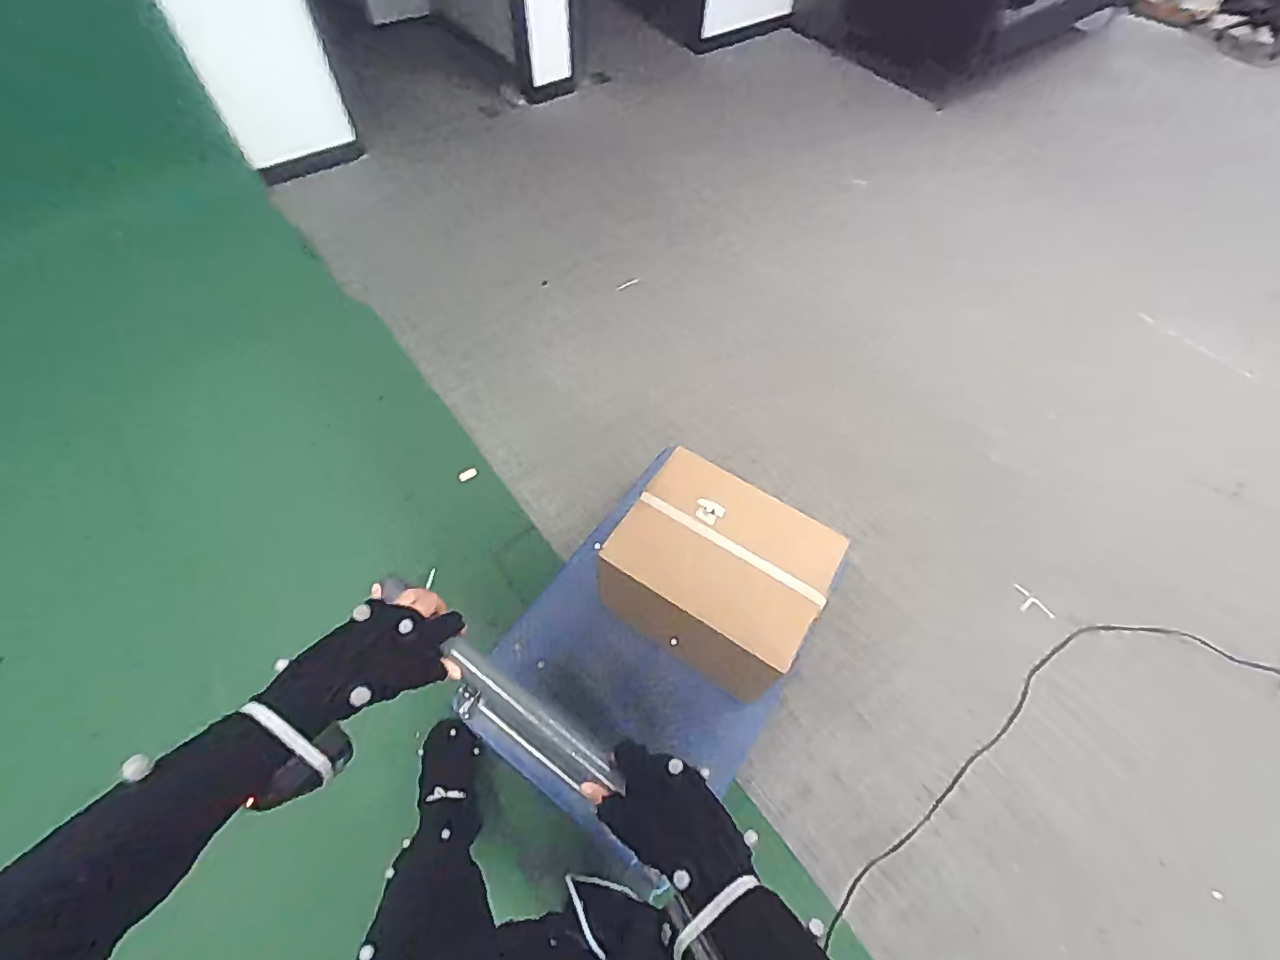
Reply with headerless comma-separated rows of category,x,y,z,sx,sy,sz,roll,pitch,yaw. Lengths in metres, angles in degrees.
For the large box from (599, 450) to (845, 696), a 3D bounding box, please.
large box,0.162,0.210,1.190,0.408,0.320,0.320,30,60,15
